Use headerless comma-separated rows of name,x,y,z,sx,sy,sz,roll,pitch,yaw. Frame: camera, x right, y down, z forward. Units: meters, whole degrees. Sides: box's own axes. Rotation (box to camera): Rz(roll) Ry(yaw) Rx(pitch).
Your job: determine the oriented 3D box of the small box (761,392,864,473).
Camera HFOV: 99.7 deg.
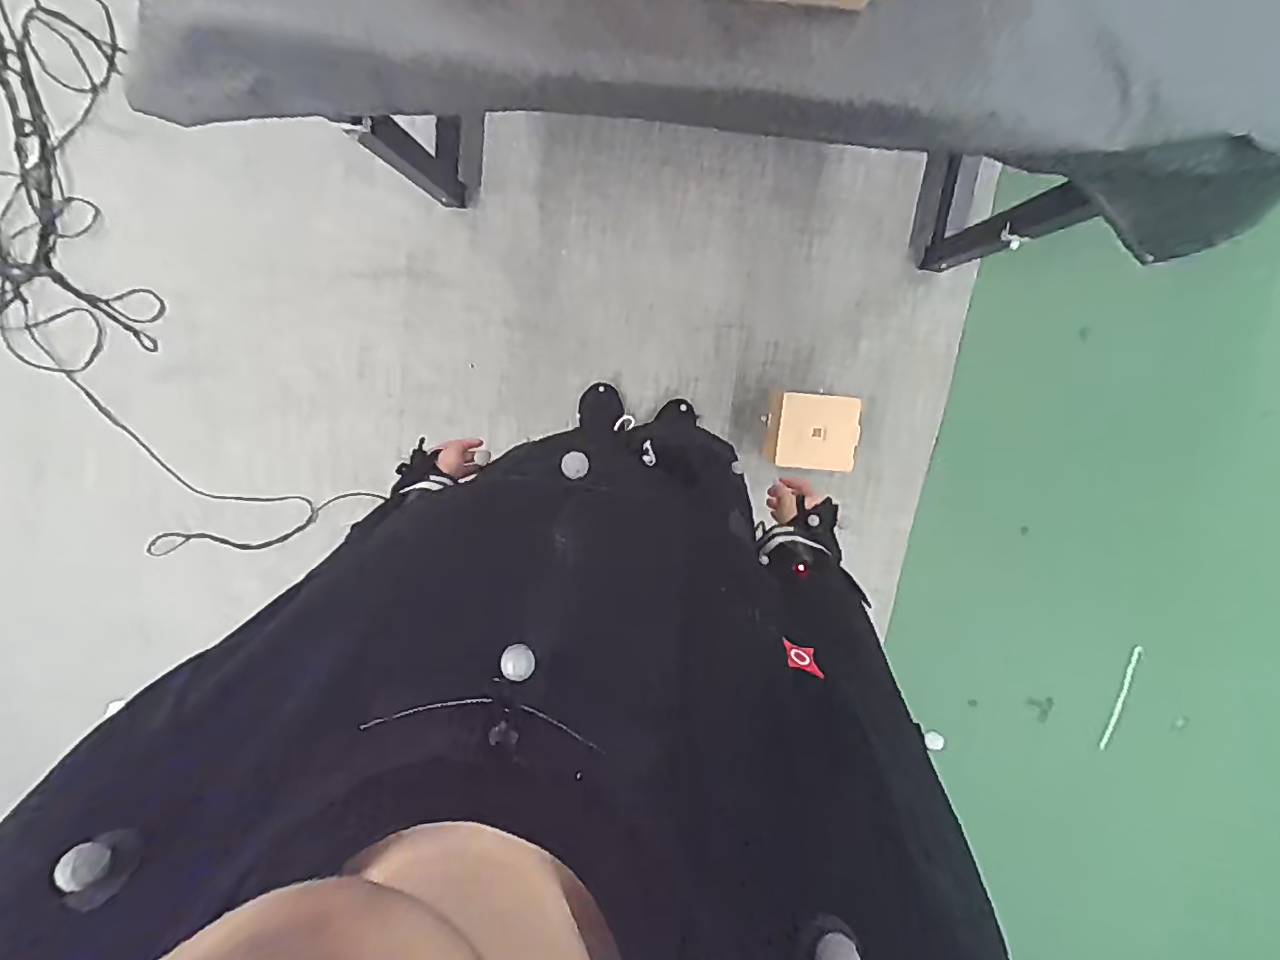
small box,0.392,-0.116,1.256,0.179,0.176,0.168,4,101,1
